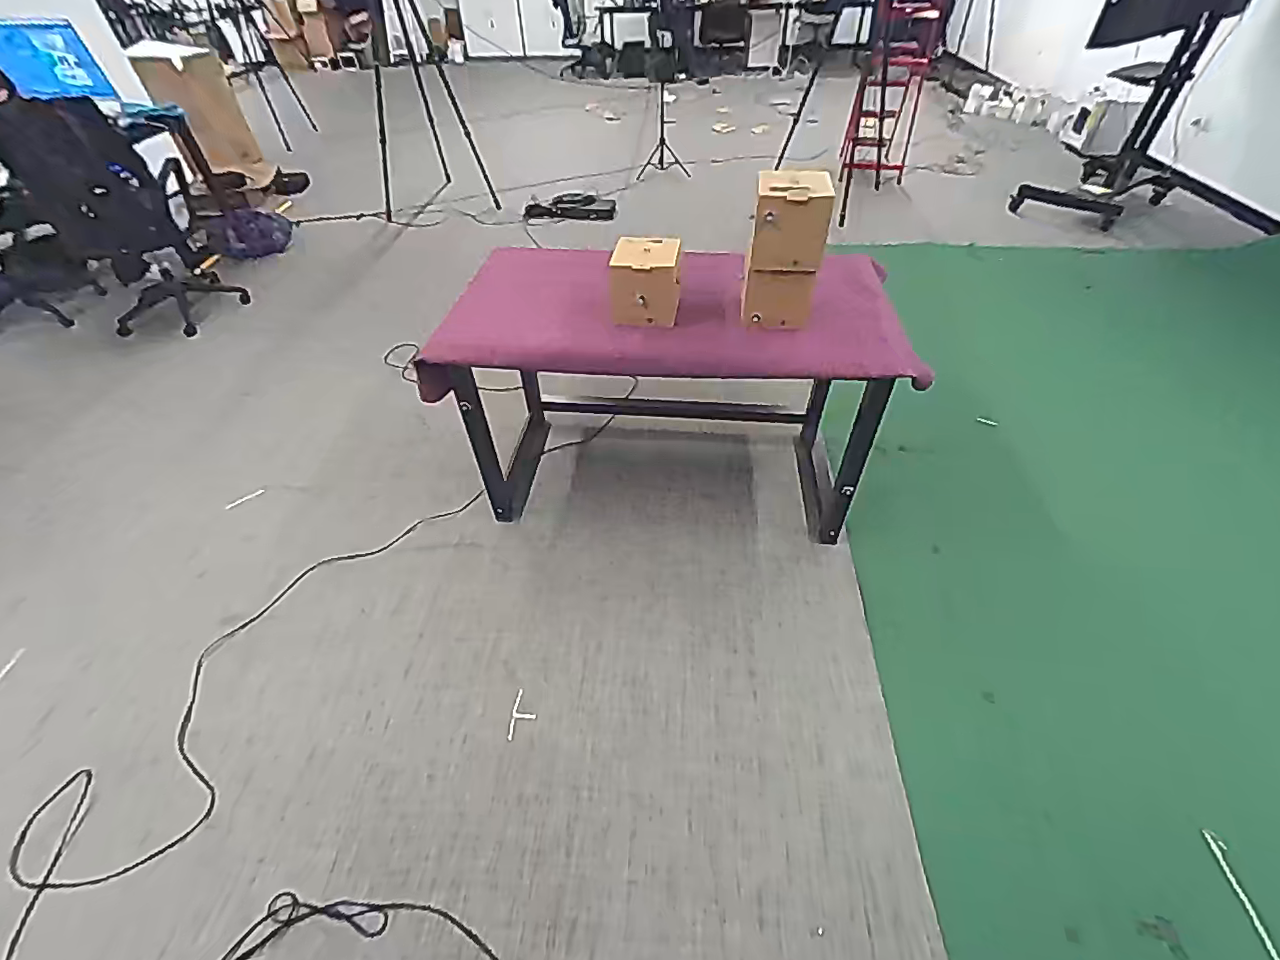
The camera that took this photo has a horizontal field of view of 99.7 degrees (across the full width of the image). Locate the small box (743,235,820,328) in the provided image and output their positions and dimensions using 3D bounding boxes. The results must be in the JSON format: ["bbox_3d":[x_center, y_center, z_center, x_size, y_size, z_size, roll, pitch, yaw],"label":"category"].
[{"bbox_3d":[0.364,-0.514,1.406,0.168,0.176,0.179,7,47,7],"label":"small box"}]

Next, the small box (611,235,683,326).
[{"bbox_3d":[0.024,-0.527,1.433,0.168,0.176,0.179,6,47,7],"label":"small box"}]
